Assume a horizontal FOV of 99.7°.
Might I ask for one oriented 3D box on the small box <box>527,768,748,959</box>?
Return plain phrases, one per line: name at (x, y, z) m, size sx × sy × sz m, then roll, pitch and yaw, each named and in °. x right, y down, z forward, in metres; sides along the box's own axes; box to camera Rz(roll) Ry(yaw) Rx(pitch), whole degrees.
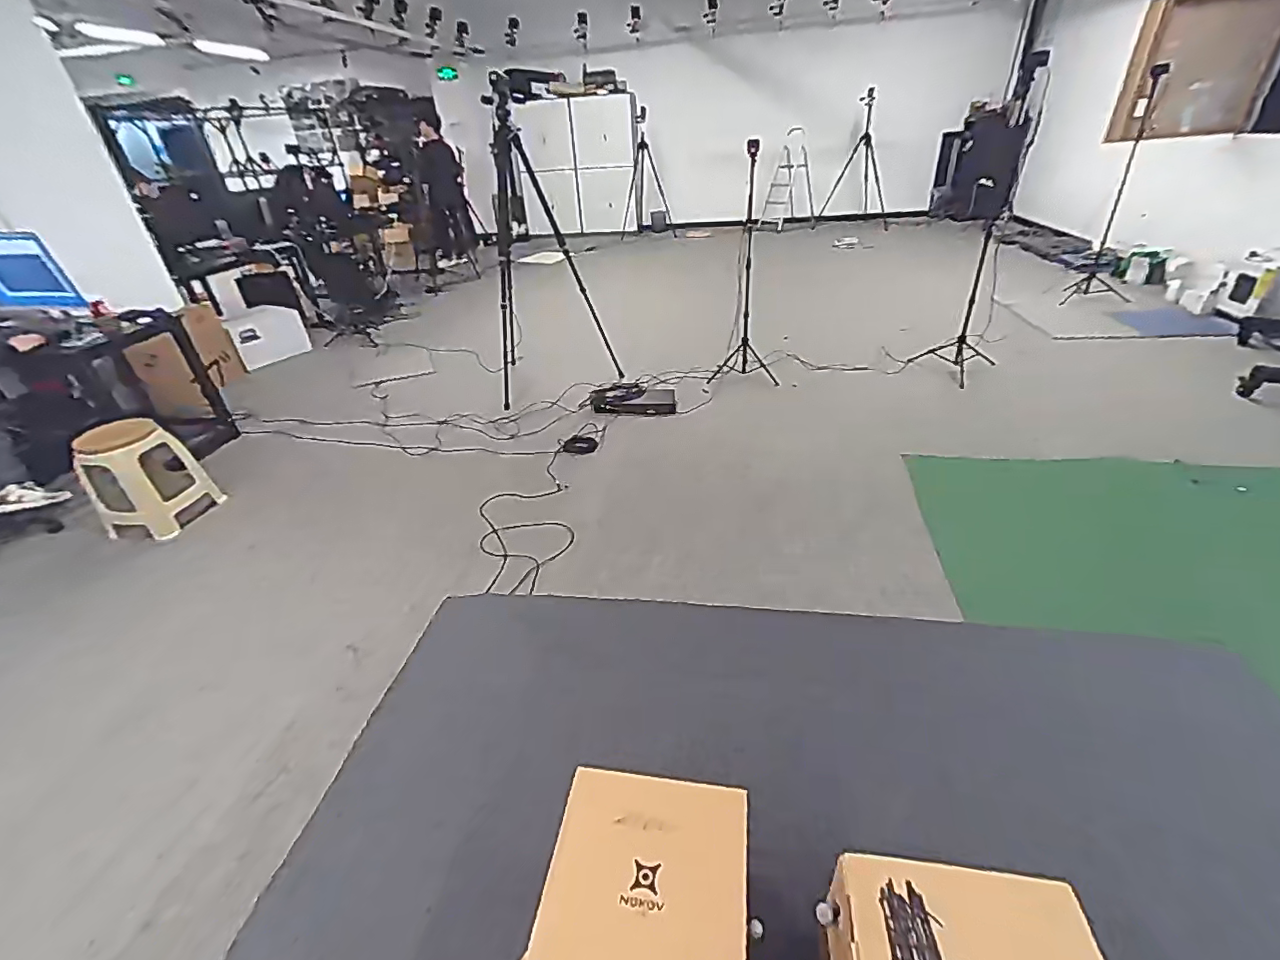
small box at (0.010, 0.398, 0.486) m, size 0.168 × 0.176 × 0.179 m, roll 3°, pitch 32°, yaw 9°
